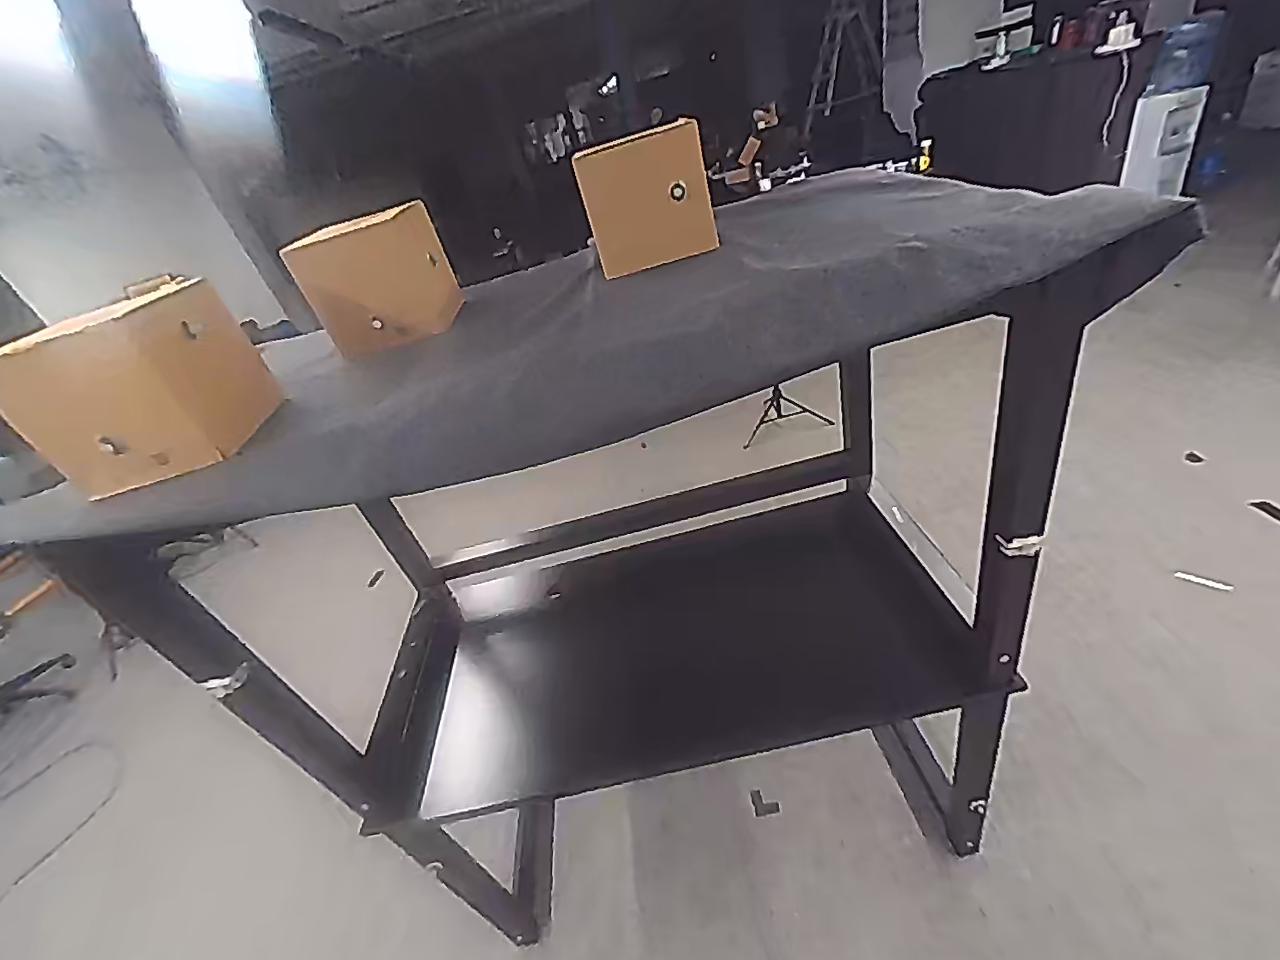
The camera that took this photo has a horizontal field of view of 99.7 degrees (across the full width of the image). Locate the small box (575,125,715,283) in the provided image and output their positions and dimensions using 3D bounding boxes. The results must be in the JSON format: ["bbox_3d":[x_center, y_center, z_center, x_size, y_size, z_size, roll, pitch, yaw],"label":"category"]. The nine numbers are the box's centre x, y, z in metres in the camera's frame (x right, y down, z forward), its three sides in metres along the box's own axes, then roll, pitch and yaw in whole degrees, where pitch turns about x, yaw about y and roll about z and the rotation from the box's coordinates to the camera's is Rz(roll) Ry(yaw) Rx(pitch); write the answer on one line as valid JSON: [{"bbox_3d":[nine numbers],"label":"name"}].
[{"bbox_3d":[0.012,-0.423,0.828,0.179,0.176,0.168,-14,33,5],"label":"small box"}]

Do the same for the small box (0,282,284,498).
[{"bbox_3d":[-0.560,-0.107,0.627,0.168,0.176,0.179,-17,34,1],"label":"small box"}]
